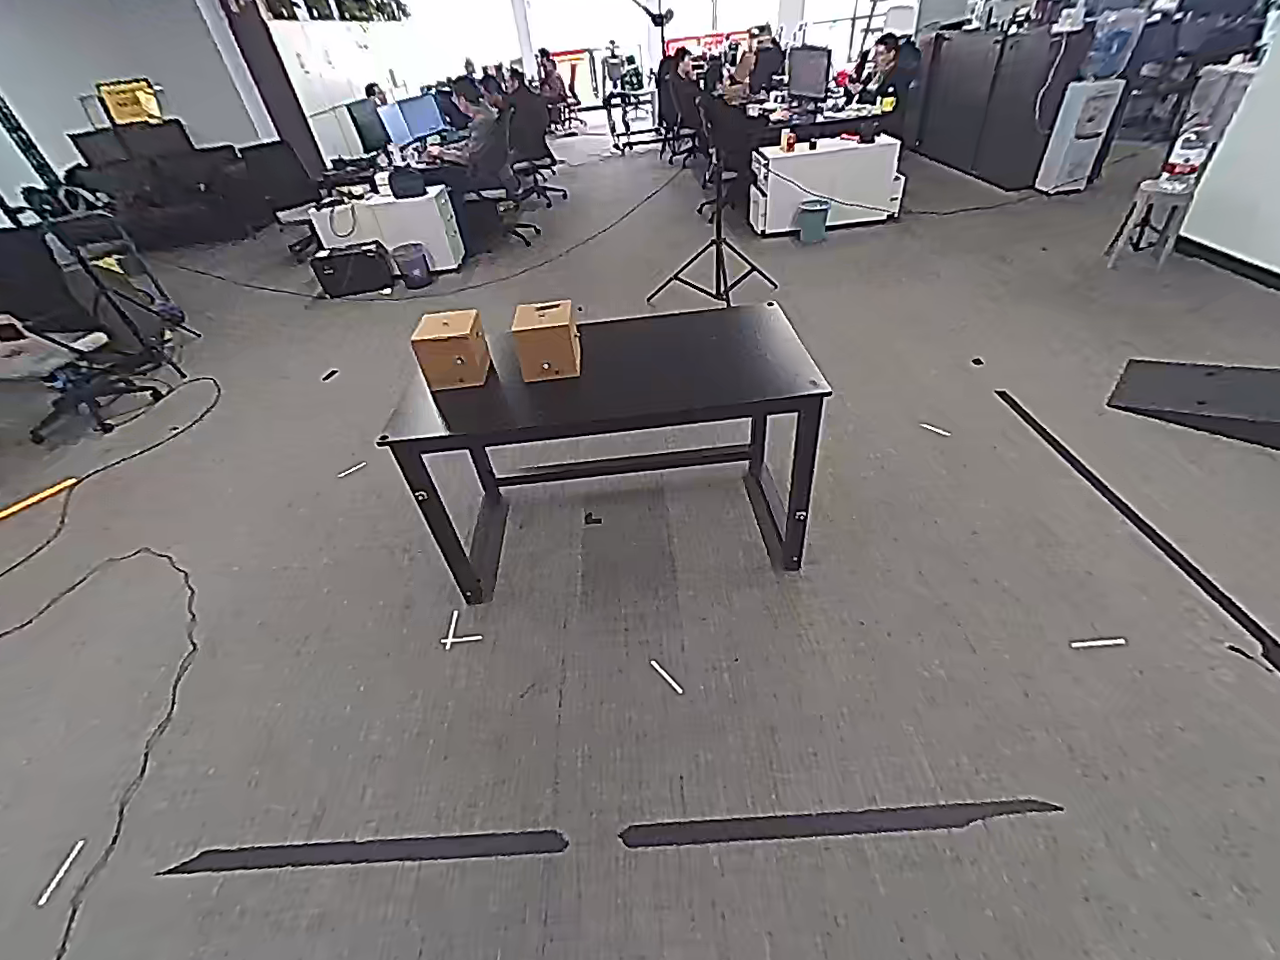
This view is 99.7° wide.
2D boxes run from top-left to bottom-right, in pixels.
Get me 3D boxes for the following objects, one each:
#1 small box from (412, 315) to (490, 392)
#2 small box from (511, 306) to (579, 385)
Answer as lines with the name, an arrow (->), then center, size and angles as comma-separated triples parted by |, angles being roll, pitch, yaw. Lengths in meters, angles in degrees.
small box -> -0.563, -0.378, 1.634 | 0.168, 0.176, 0.179 | -6, 39, -1
small box -> -0.277, -0.403, 1.621 | 0.168, 0.176, 0.179 | -7, 41, 1
